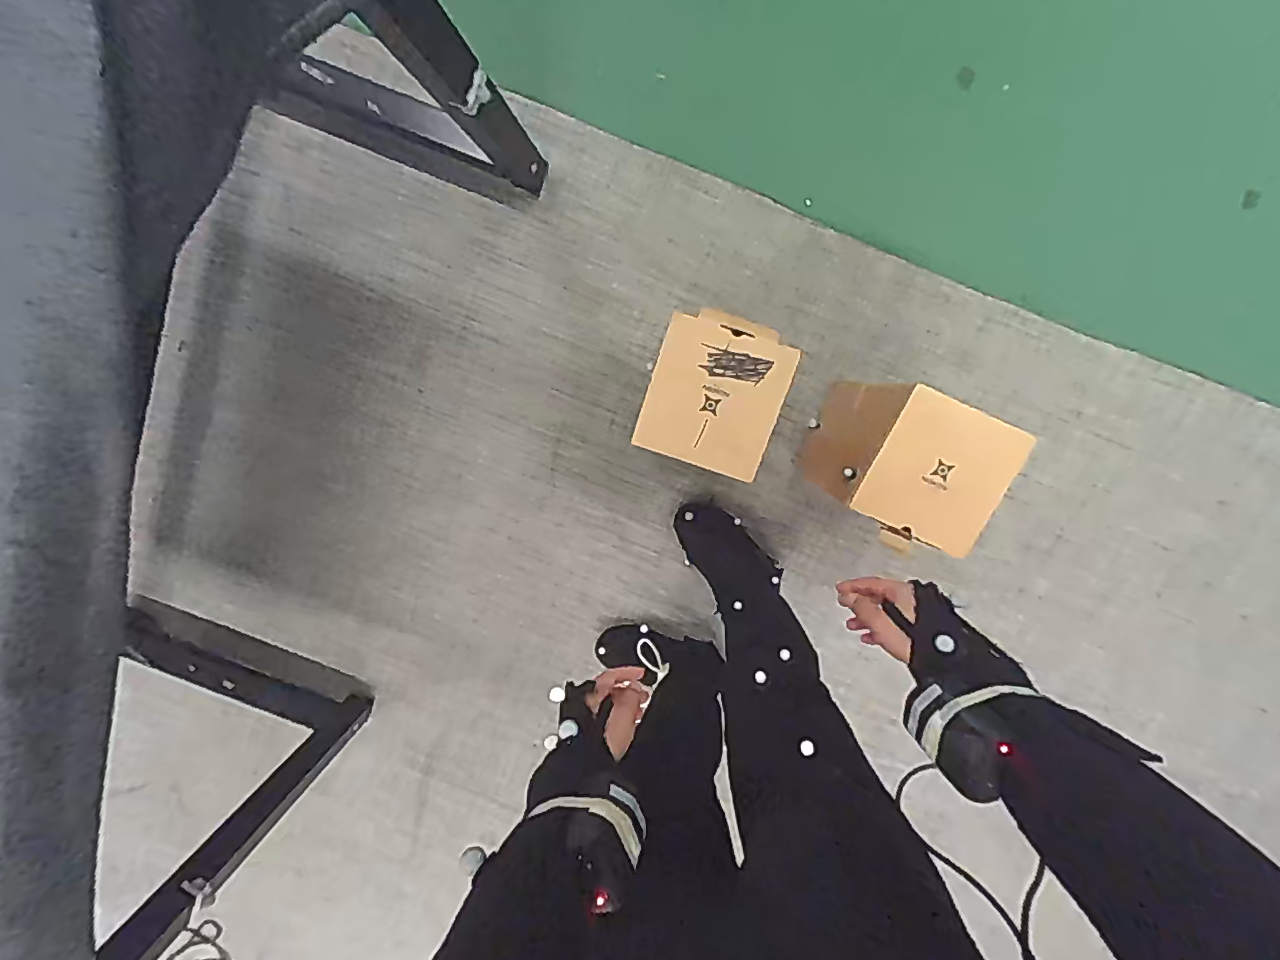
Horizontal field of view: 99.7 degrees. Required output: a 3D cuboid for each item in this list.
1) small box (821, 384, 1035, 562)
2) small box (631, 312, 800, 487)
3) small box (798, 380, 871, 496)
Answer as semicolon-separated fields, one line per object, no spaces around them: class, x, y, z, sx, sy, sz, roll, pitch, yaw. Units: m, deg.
small box;0.372;-0.021;0.740;0.168;0.176;0.179;24;102;-1
small box;0.095;-0.112;0.742;0.168;0.176;0.179;18;103;1
small box;0.380;-0.053;0.900;0.168;0.176;0.179;23;104;-2
